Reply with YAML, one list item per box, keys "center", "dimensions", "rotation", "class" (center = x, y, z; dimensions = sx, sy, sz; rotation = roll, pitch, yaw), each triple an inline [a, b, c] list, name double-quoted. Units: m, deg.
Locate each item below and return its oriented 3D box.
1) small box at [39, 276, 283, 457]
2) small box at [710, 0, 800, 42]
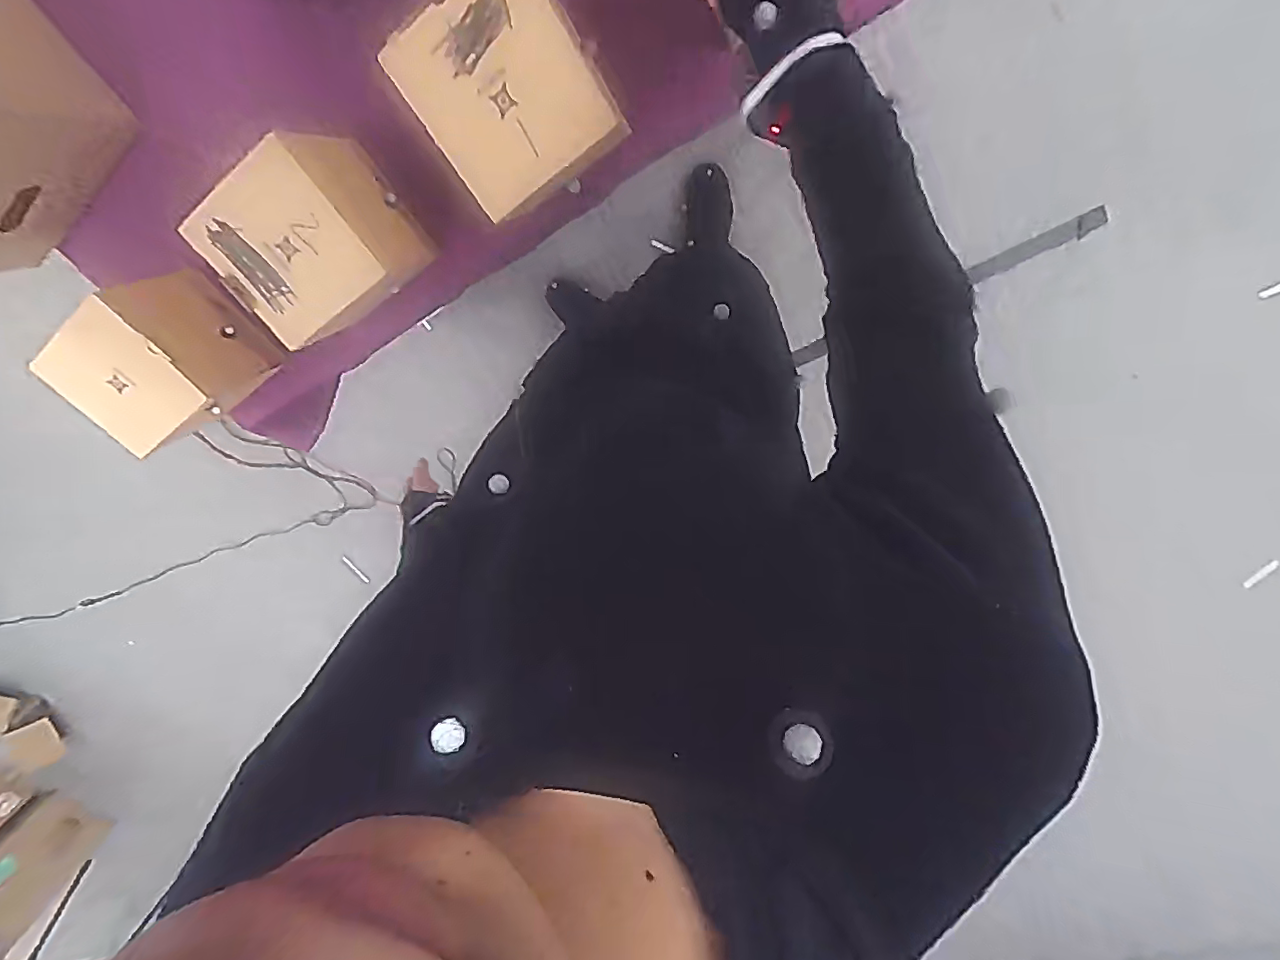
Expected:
- center: [-0.673, -0.168, 0.783]
  dimensions: [0.179, 0.176, 0.168]
  rotation: [-30, 114, 19]
  class: "small box"
- center: [0.121, -0.548, 0.487]
  dimensions: [0.168, 0.176, 0.179]
  rotation: [-26, 115, 20]
  class: "small box"
